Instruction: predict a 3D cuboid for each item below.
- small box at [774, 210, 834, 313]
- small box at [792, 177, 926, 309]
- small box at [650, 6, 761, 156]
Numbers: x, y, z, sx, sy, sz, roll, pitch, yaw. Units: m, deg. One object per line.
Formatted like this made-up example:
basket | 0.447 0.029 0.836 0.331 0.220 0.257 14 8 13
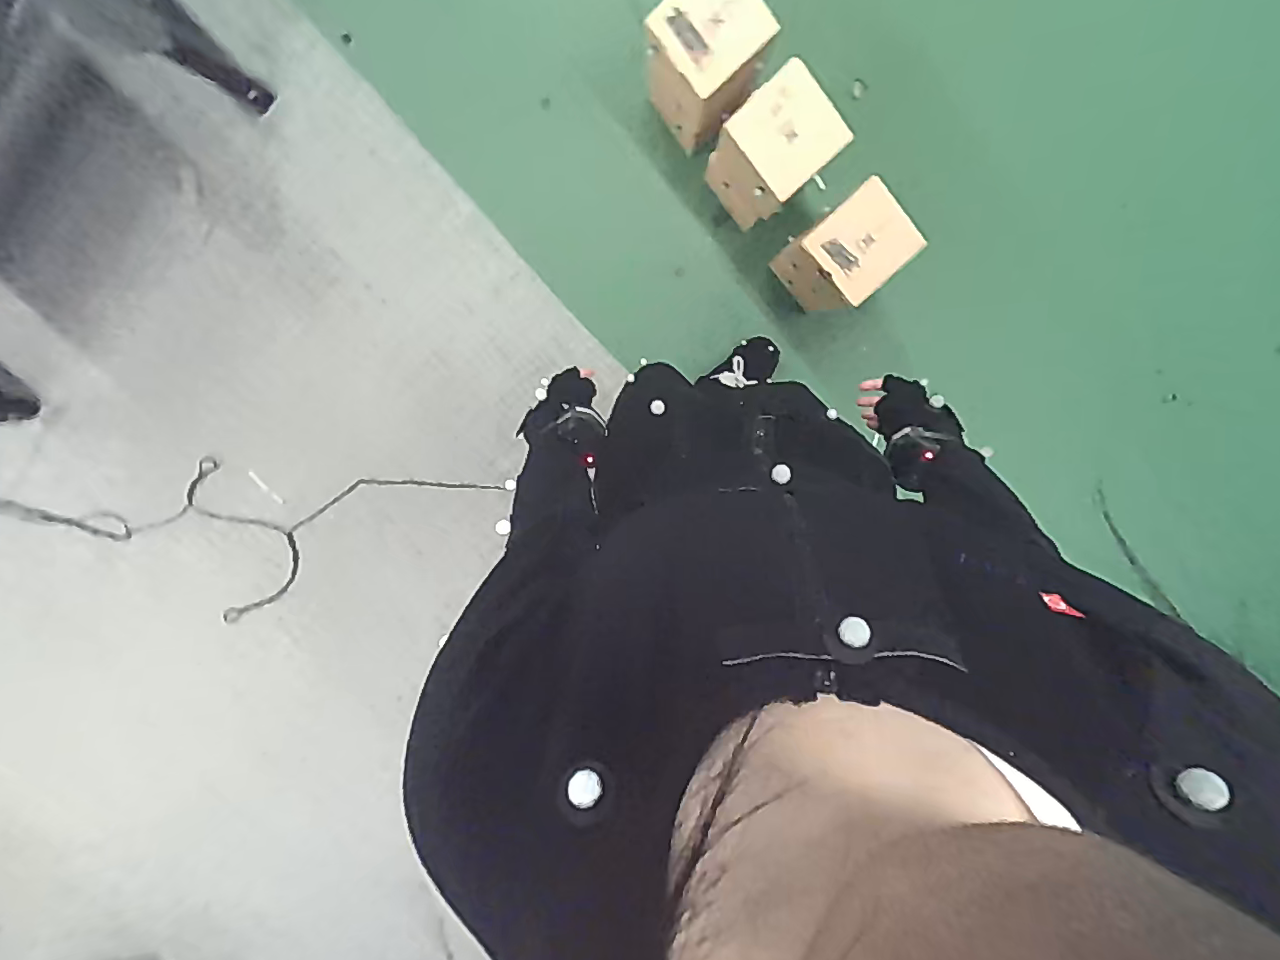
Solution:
small box | 0.441 -0.513 1.268 0.179 0.176 0.168 -40 100 12
small box | 0.433 -0.470 1.109 0.179 0.176 0.168 -41 100 12
small box | 0.141 -0.862 1.192 0.179 0.176 0.168 -36 100 11
